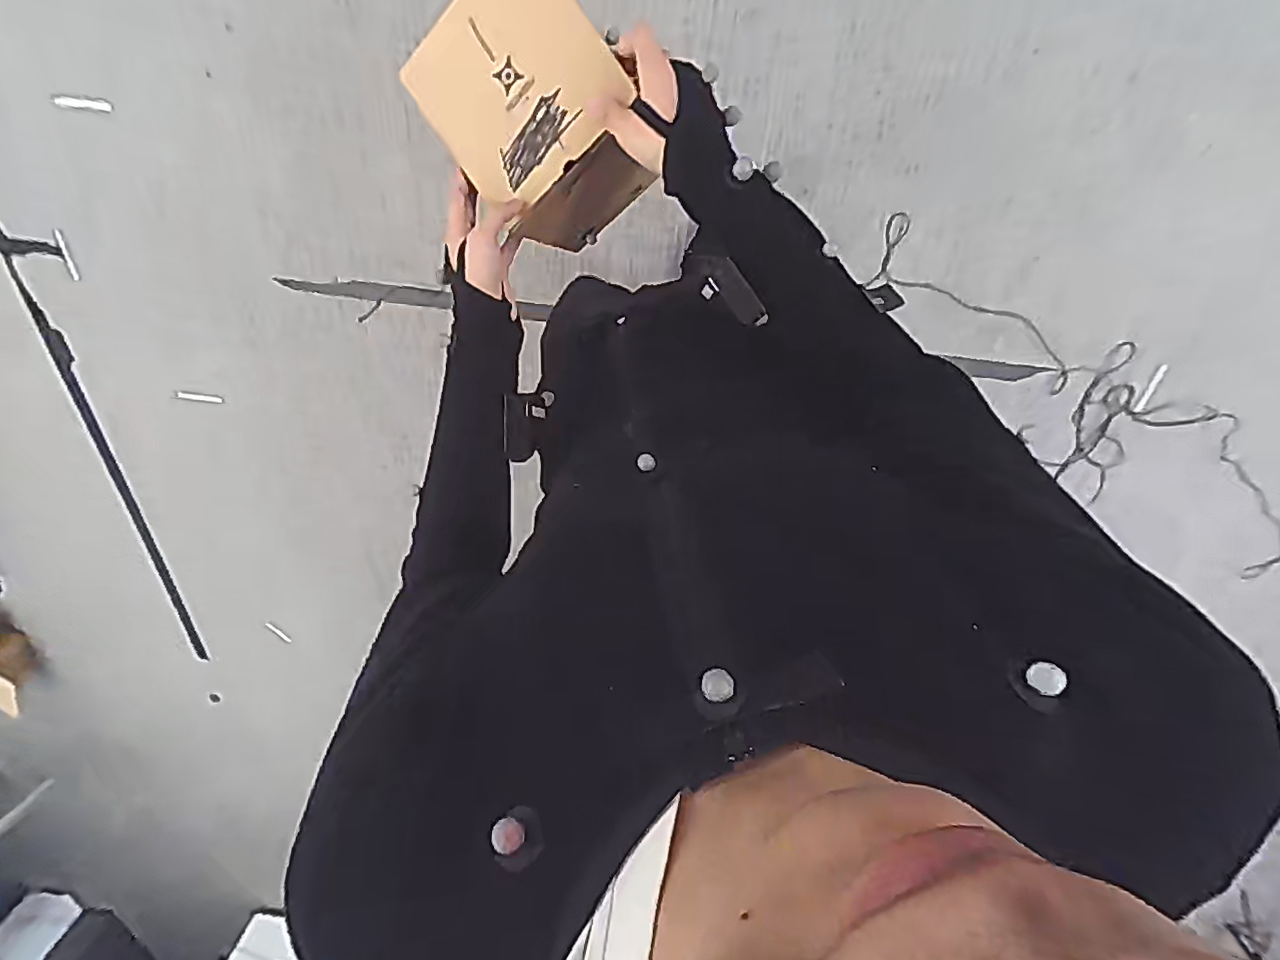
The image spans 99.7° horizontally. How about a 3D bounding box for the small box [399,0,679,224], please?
[{"bbox_3d":[-0.082,-0.377,0.529,0.168,0.176,0.179,-33,94,21],"label":"small box"}]
